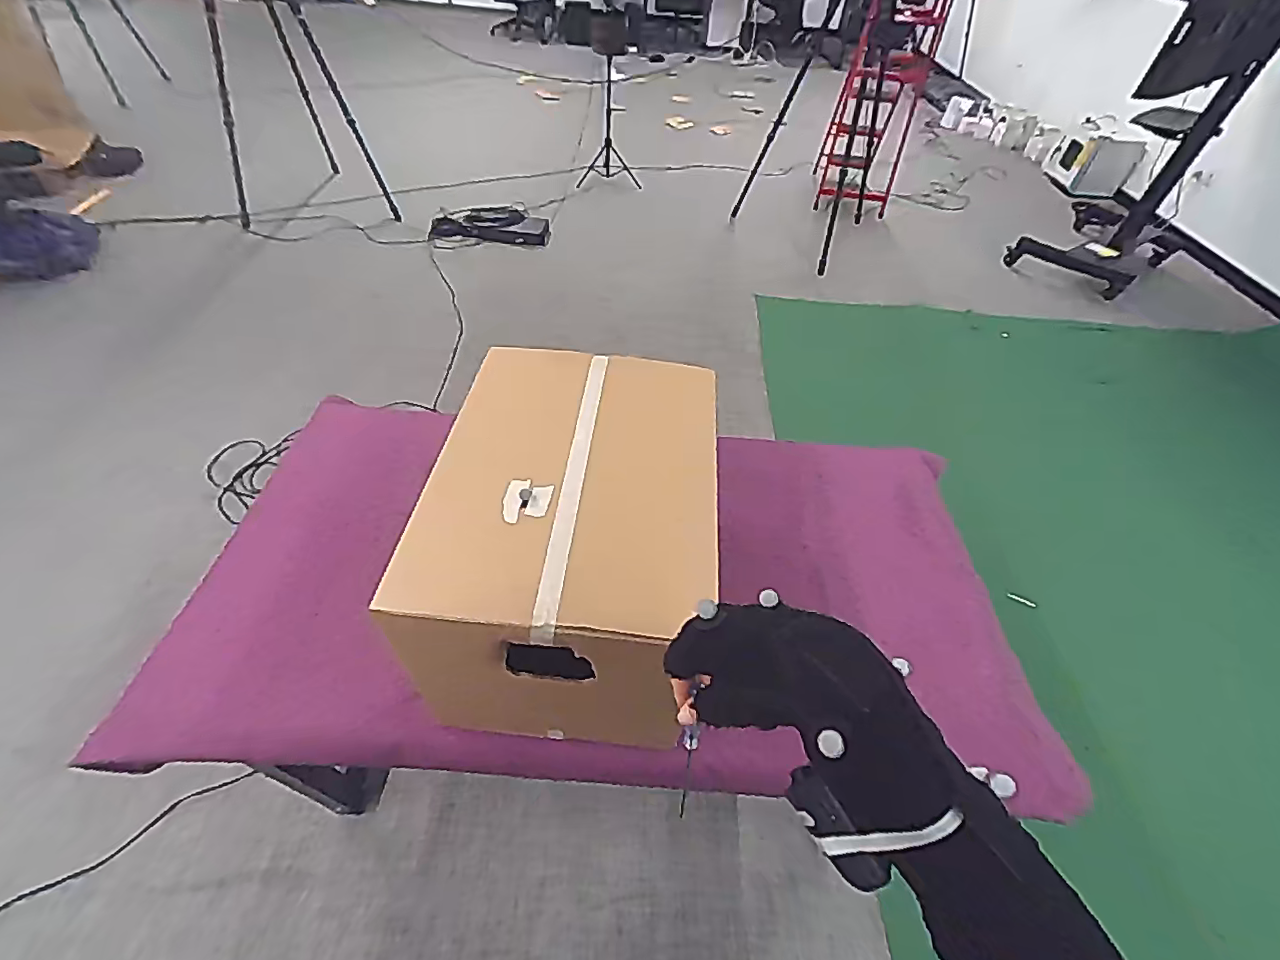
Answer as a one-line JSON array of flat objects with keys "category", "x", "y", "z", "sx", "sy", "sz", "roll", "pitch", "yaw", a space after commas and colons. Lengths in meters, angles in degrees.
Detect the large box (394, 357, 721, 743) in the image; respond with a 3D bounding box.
[{"category": "large box", "x": -0.075, "y": 0.090, "z": 0.737, "sx": 0.320, "sy": 0.320, "sz": 0.408, "roll": 6, "pitch": 49, "yaw": 0}]
